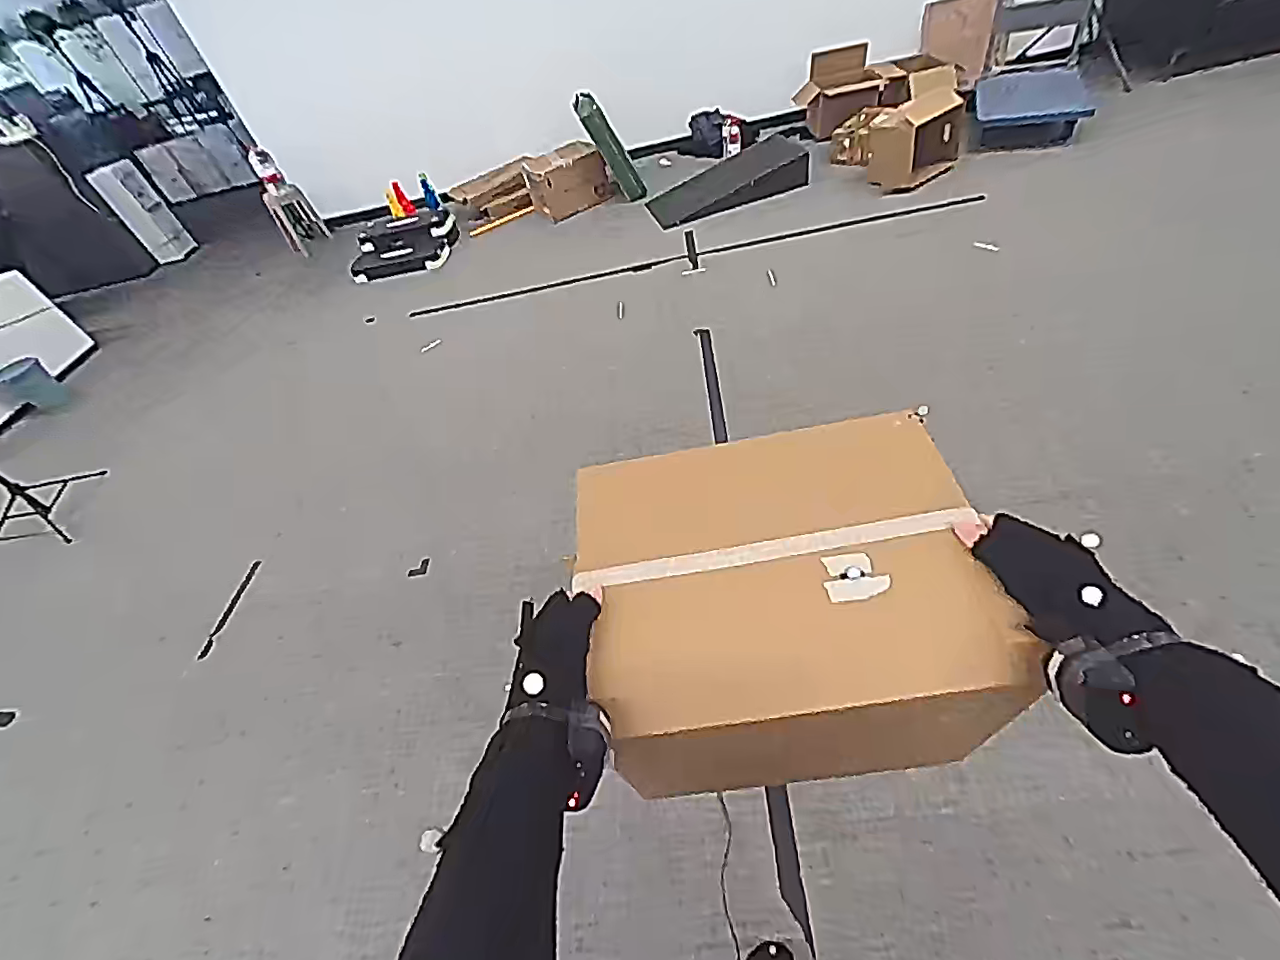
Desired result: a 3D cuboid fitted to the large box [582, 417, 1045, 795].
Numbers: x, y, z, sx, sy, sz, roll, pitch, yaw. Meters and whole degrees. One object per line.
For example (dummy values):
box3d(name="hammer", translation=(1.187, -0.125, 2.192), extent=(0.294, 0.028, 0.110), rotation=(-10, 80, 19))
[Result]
box3d(name="large box", translation=(0.160, 0.168, 0.676), extent=(0.408, 0.320, 0.320), rotation=(-10, 51, 4))
